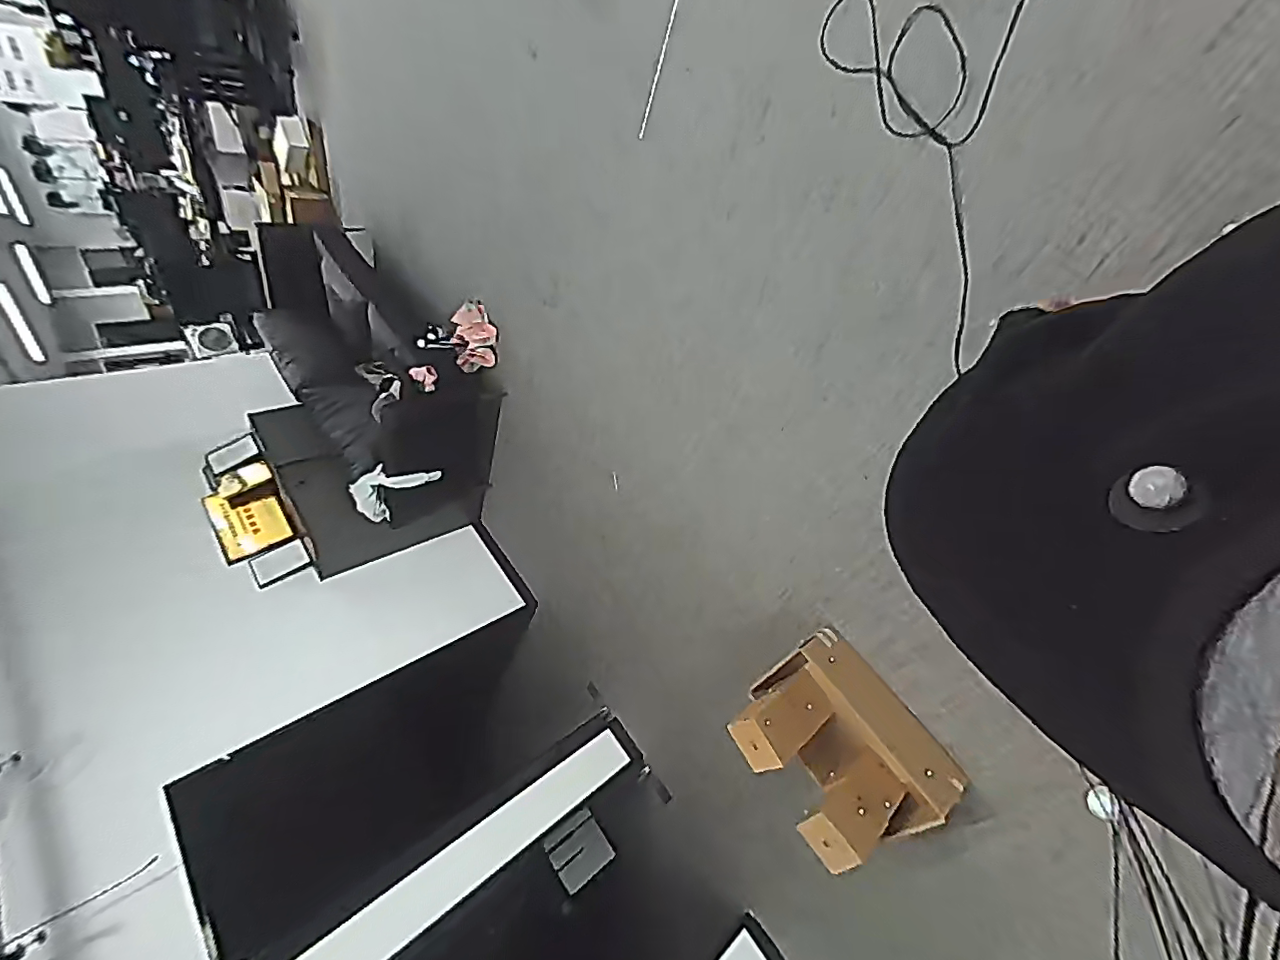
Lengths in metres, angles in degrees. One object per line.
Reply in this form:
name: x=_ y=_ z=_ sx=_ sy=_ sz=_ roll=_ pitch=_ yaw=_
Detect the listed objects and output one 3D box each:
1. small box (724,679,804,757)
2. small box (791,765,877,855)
small box: x=0.435 y=0.829 z=1.886 sx=0.179 sy=0.176 sz=0.168 roll=57 pitch=140 yaw=14
small box: x=0.634 y=1.072 z=1.761 sx=0.168 sy=0.176 sz=0.179 roll=47 pitch=137 yaw=24
